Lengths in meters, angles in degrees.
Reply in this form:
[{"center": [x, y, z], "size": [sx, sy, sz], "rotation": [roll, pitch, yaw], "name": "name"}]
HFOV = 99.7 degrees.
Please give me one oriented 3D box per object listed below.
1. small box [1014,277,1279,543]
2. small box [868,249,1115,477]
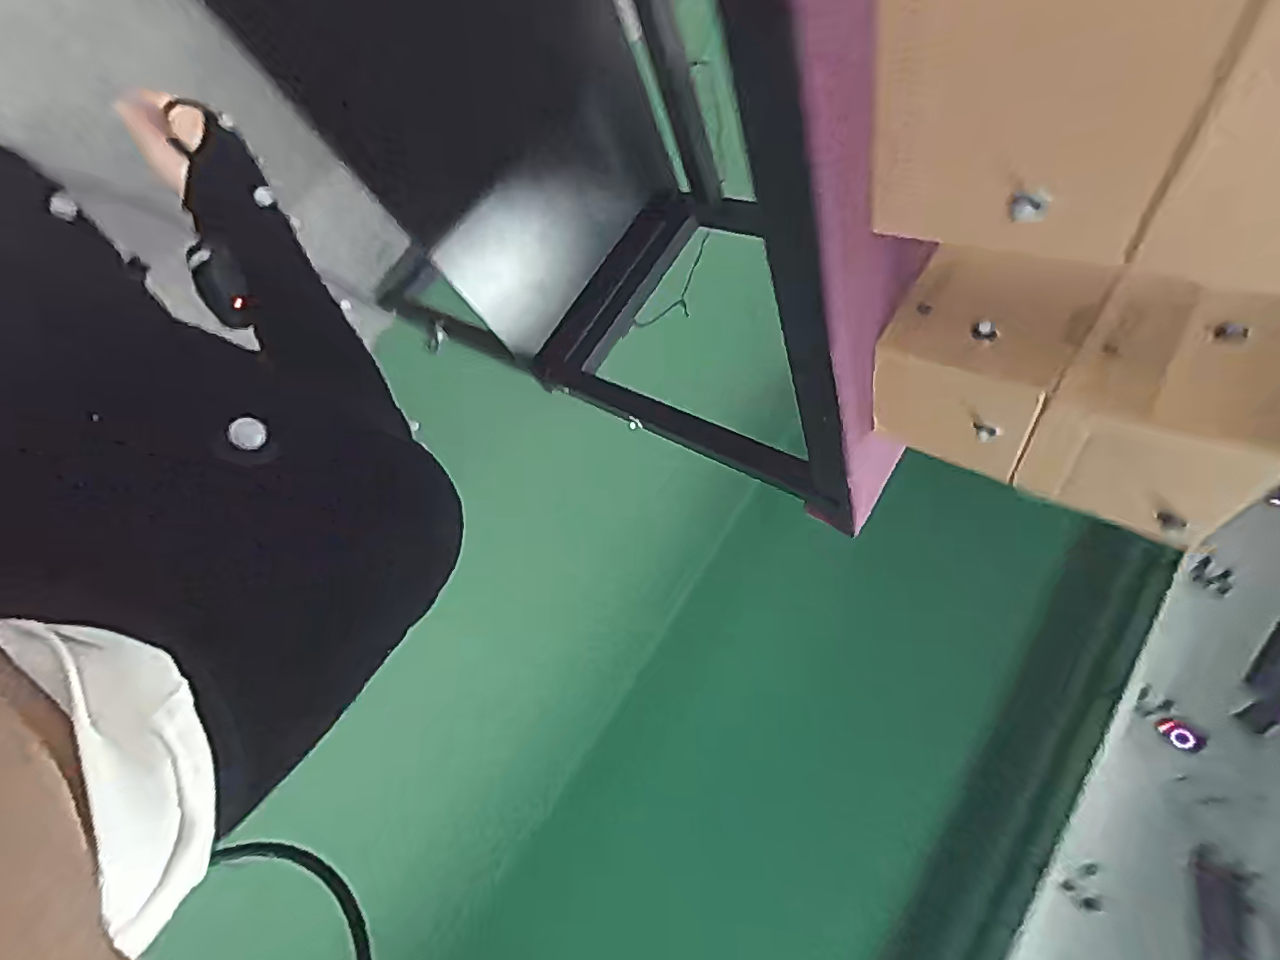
[{"center": [0.495, -0.073, 0.522], "size": [0.168, 0.176, 0.179], "rotation": [-53, 147, -13], "name": "small box"}, {"center": [0.375, -0.136, 0.609], "size": [0.168, 0.176, 0.179], "rotation": [-54, 147, -12], "name": "small box"}]
